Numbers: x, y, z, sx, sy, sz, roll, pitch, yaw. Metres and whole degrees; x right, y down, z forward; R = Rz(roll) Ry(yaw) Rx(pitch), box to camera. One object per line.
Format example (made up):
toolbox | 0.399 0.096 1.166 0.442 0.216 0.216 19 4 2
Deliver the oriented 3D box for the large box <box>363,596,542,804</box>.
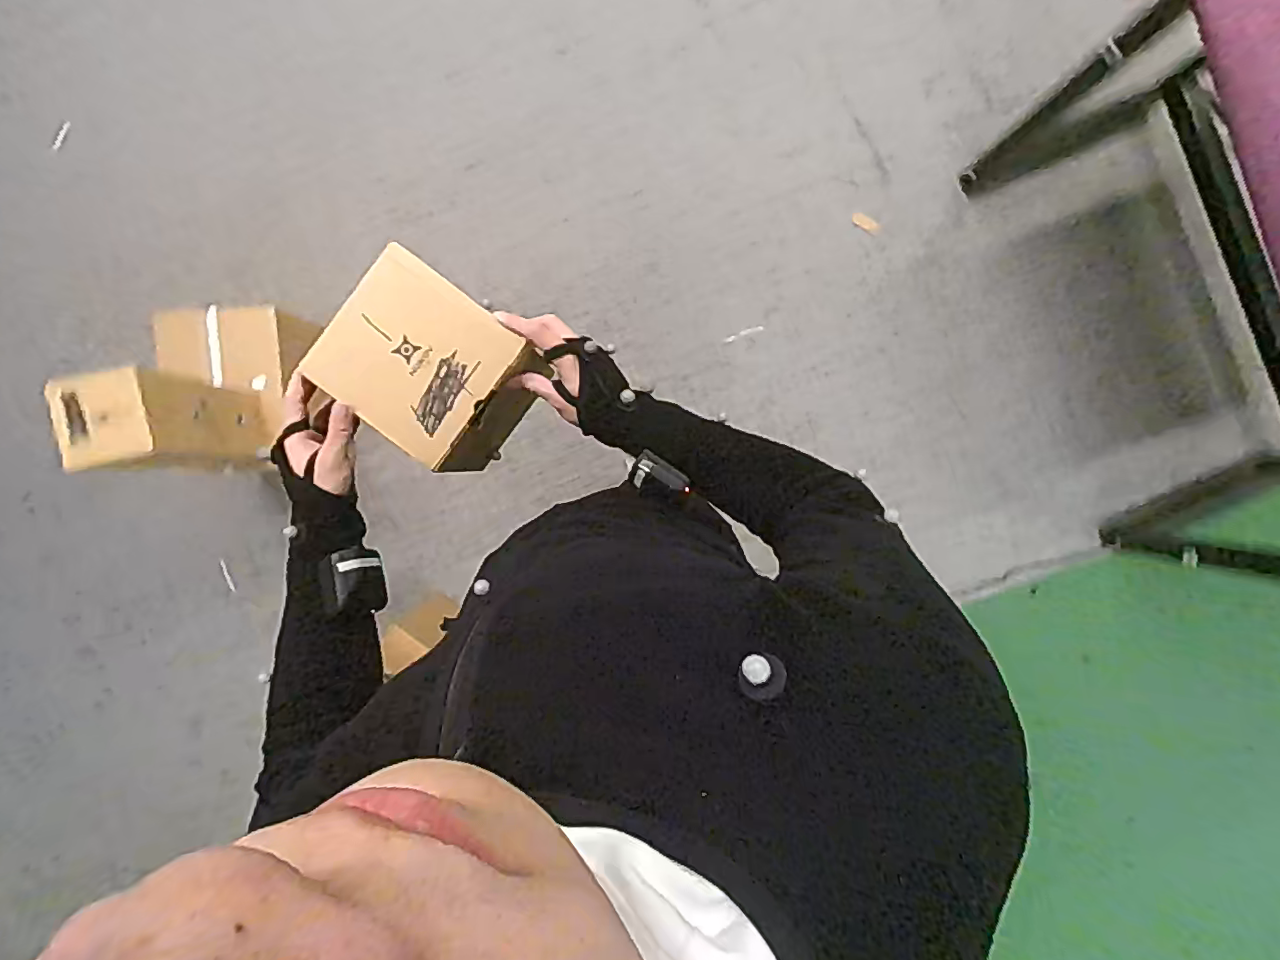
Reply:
large box | -0.545 0.589 1.520 0.408 0.320 0.320 35 94 -2

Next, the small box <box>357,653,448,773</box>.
small box | -0.590 0.533 1.271 0.179 0.176 0.168 34 93 -1

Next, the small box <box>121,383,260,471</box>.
small box | -1.020 -0.119 1.248 0.179 0.176 0.168 -12 92 0

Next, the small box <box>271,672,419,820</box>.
small box | -0.589 0.533 1.108 0.168 0.176 0.179 36 92 -2
